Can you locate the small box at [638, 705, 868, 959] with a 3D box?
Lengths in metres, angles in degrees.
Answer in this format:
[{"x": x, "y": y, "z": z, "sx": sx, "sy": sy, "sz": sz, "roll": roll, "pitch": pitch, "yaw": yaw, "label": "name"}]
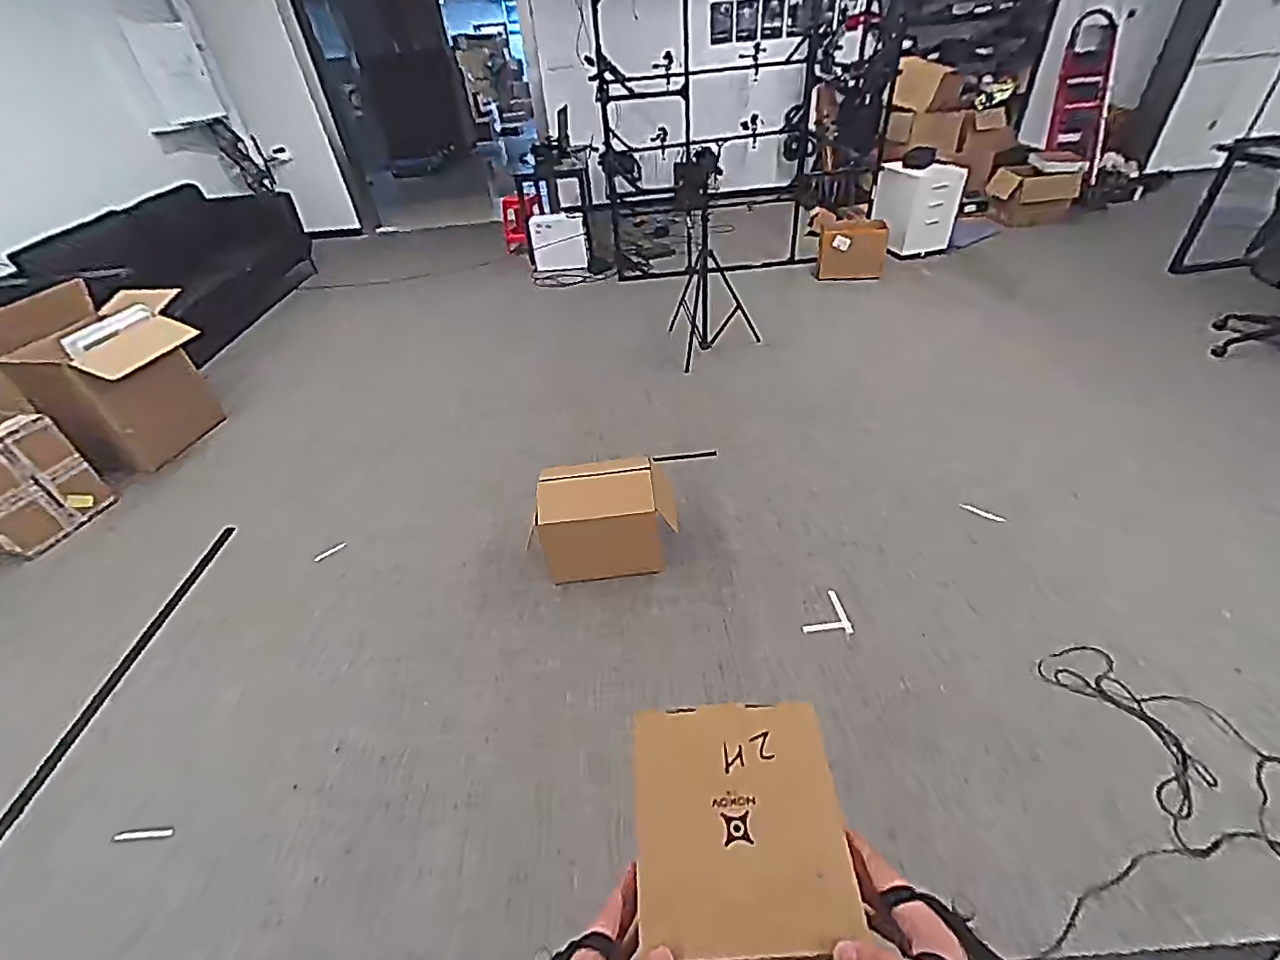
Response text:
[{"x": 0.086, "y": 0.330, "z": 0.501, "sx": 0.168, "sy": 0.176, "sz": 0.179, "roll": -3, "pitch": 45, "yaw": 1, "label": "small box"}]
